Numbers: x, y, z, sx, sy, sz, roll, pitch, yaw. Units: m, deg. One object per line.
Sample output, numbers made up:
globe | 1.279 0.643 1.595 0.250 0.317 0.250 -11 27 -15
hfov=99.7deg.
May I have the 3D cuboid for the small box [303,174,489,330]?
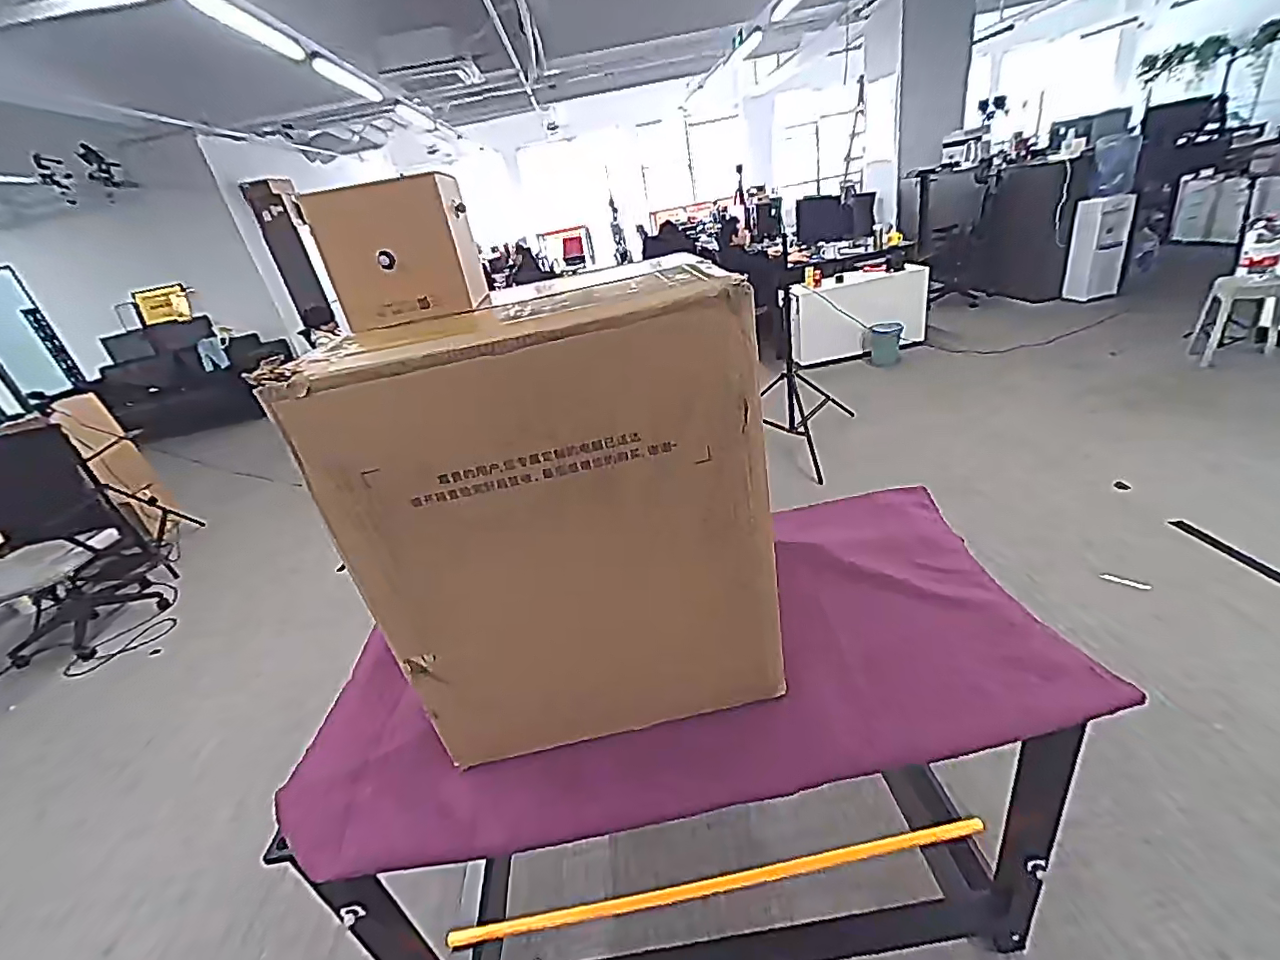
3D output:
small box | -0.321 -0.315 0.756 0.168 0.176 0.179 -11 27 -3
